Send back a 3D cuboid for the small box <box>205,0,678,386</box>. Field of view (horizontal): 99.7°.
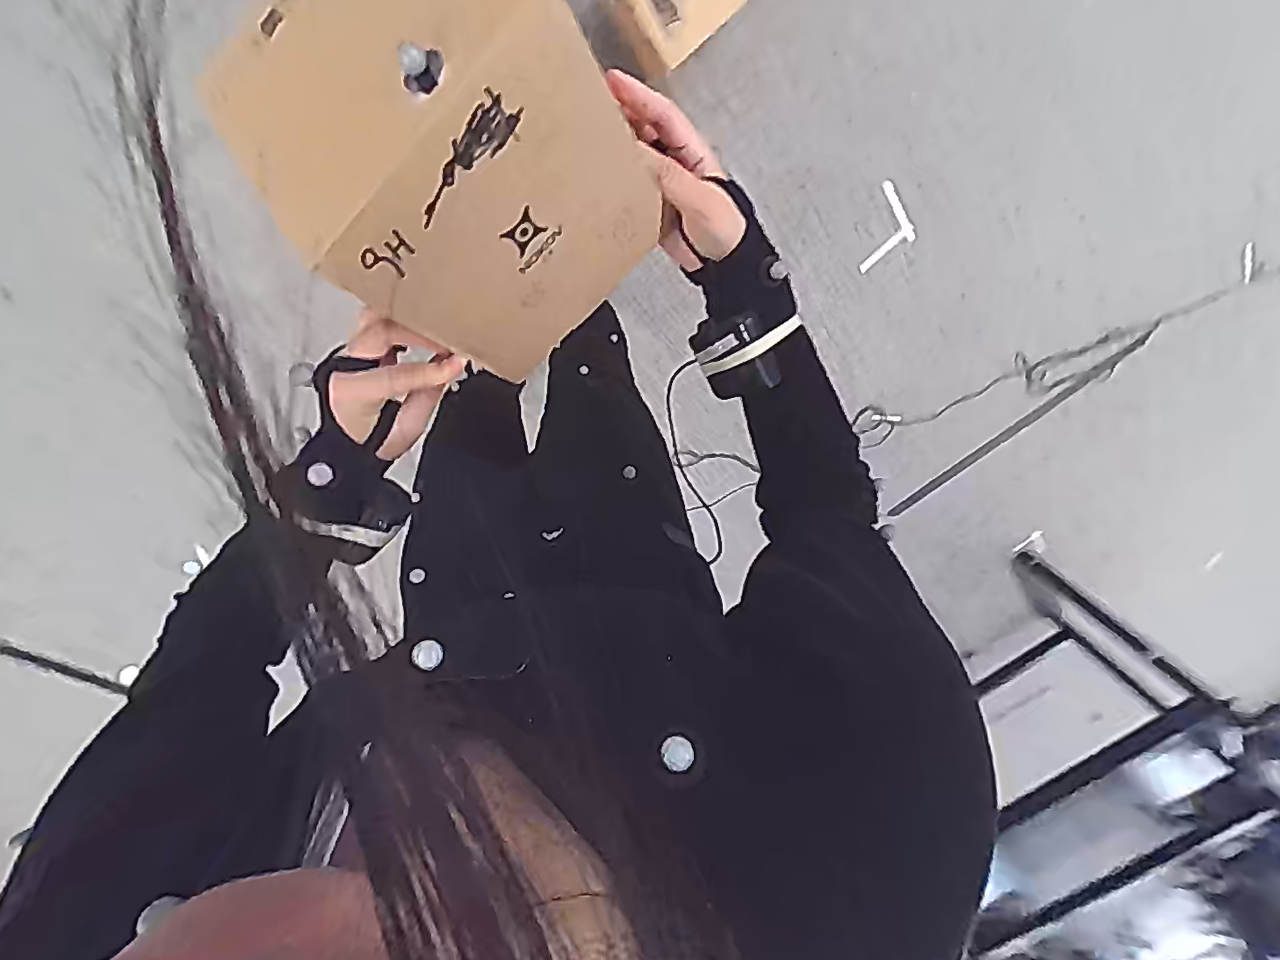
[{"bbox_3d":[-0.107,-0.192,0.334,0.168,0.176,0.179,-43,162,8],"label":"small box"}]
